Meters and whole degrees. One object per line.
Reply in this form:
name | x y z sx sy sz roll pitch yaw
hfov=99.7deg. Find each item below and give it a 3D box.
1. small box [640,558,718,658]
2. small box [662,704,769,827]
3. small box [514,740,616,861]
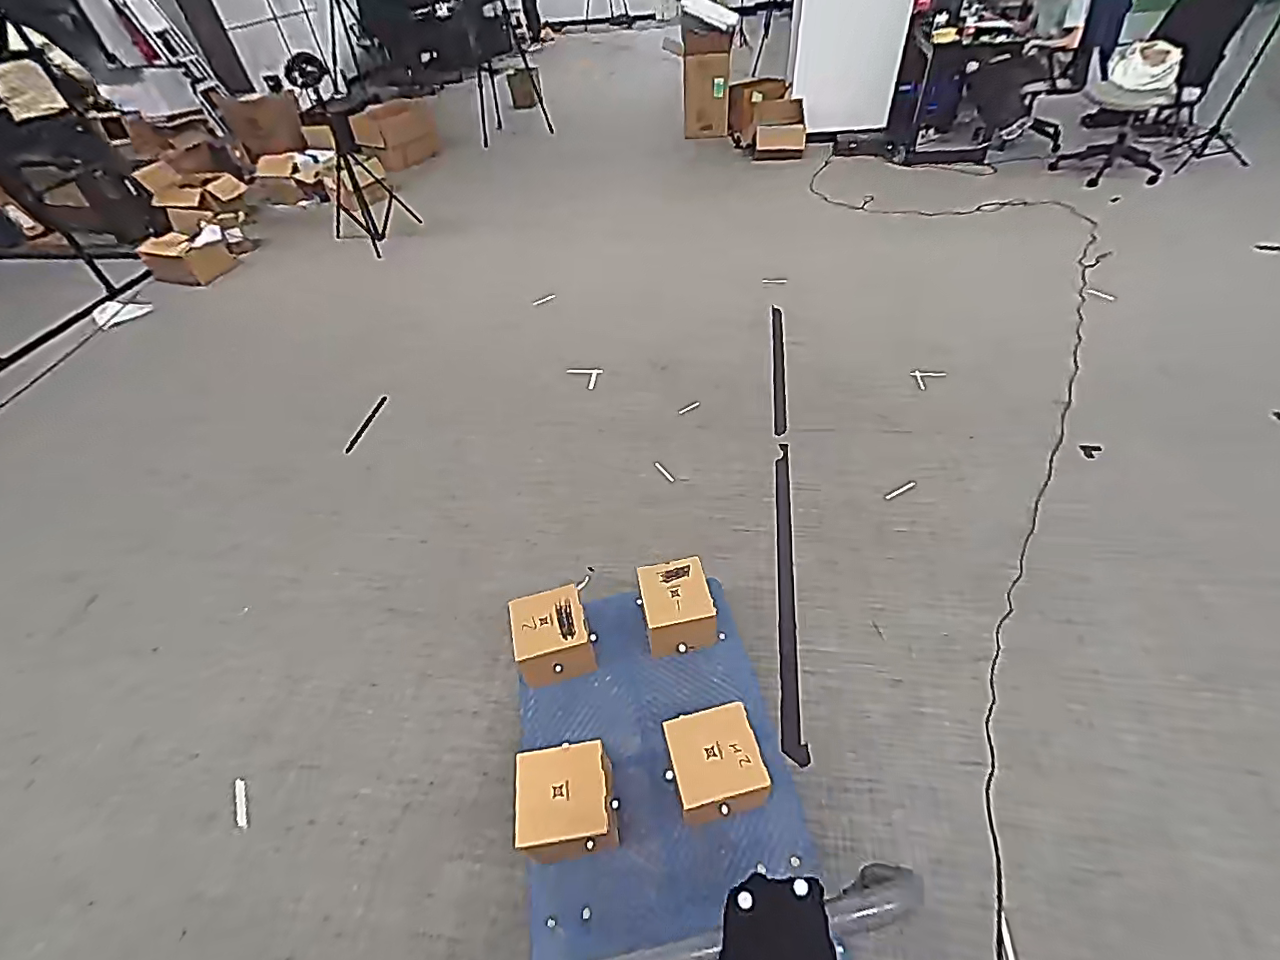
small box | 0.095 0.329 1.385 0.168 0.176 0.179 -10 48 -3
small box | 0.153 0.597 1.126 0.179 0.176 0.168 -12 47 -5
small box | -0.149 0.657 1.104 0.179 0.176 0.168 -8 46 -3
